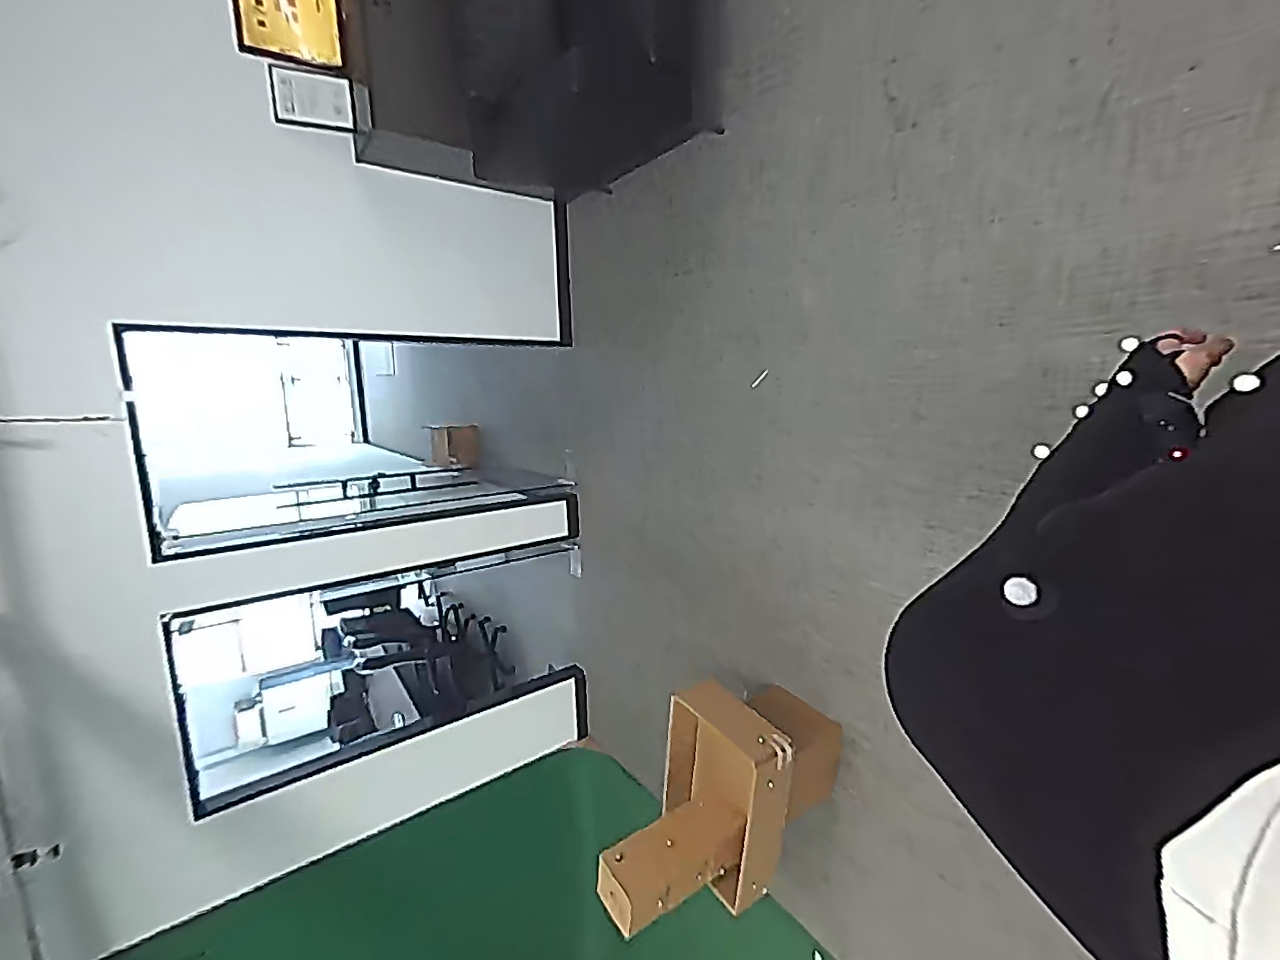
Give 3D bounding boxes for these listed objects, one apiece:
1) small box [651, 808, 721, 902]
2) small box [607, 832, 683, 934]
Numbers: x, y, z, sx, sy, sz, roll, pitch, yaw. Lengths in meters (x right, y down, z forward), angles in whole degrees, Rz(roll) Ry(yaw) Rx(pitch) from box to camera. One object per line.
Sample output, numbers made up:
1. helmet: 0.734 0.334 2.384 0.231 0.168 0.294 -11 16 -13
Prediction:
1. small box: 0.148 1.249 1.824 0.179 0.176 0.168 23 116 48
2. small box: 0.014 1.272 1.729 0.179 0.176 0.168 25 118 48
